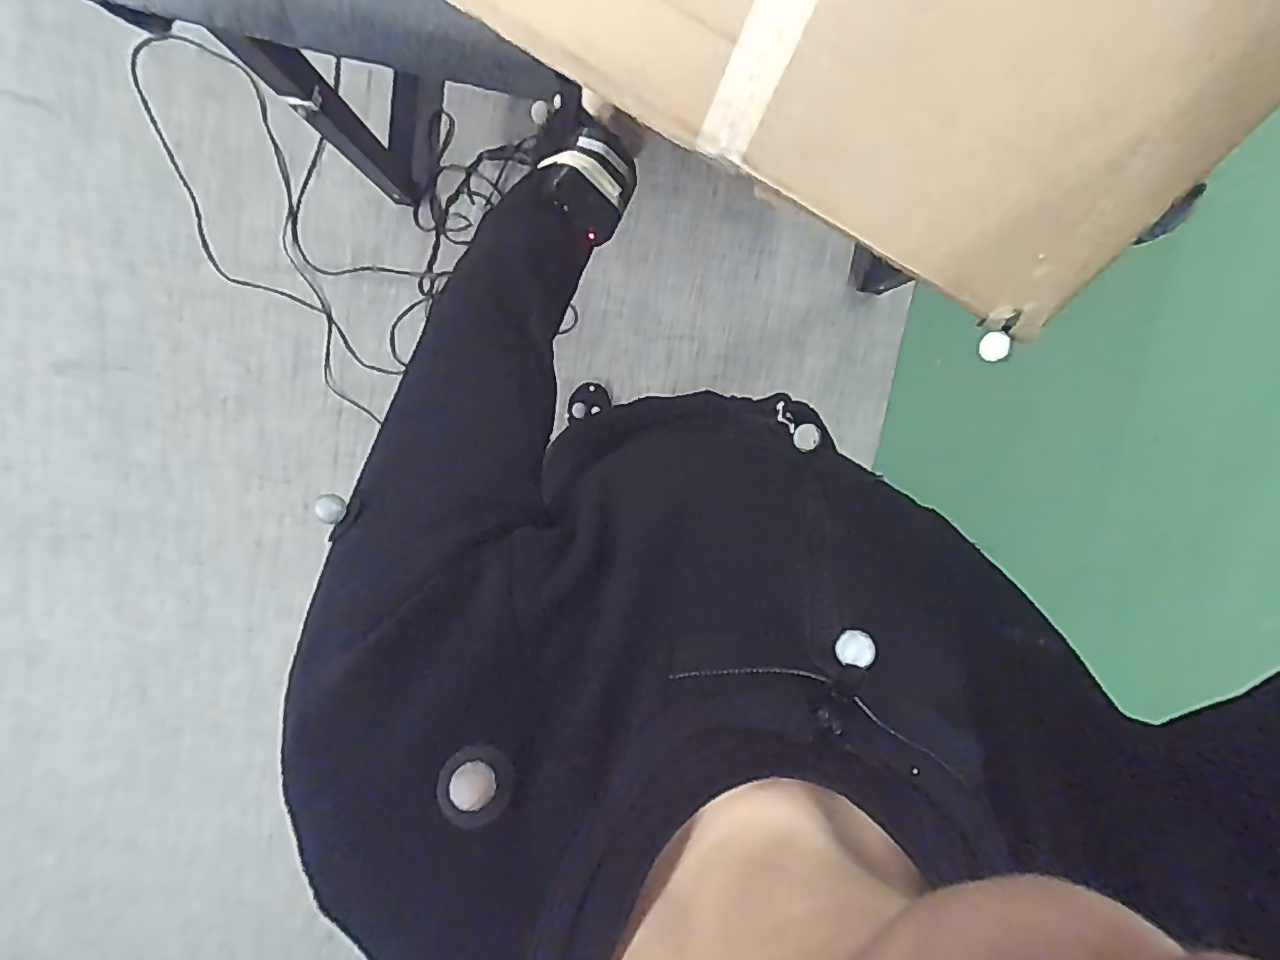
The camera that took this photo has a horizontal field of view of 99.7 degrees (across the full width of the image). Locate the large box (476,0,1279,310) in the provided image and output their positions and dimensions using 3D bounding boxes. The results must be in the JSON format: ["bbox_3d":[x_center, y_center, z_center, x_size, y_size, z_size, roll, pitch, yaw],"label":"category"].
[{"bbox_3d":[0.170,-0.367,0.228,0.320,0.320,0.408,30,133,1],"label":"large box"}]
